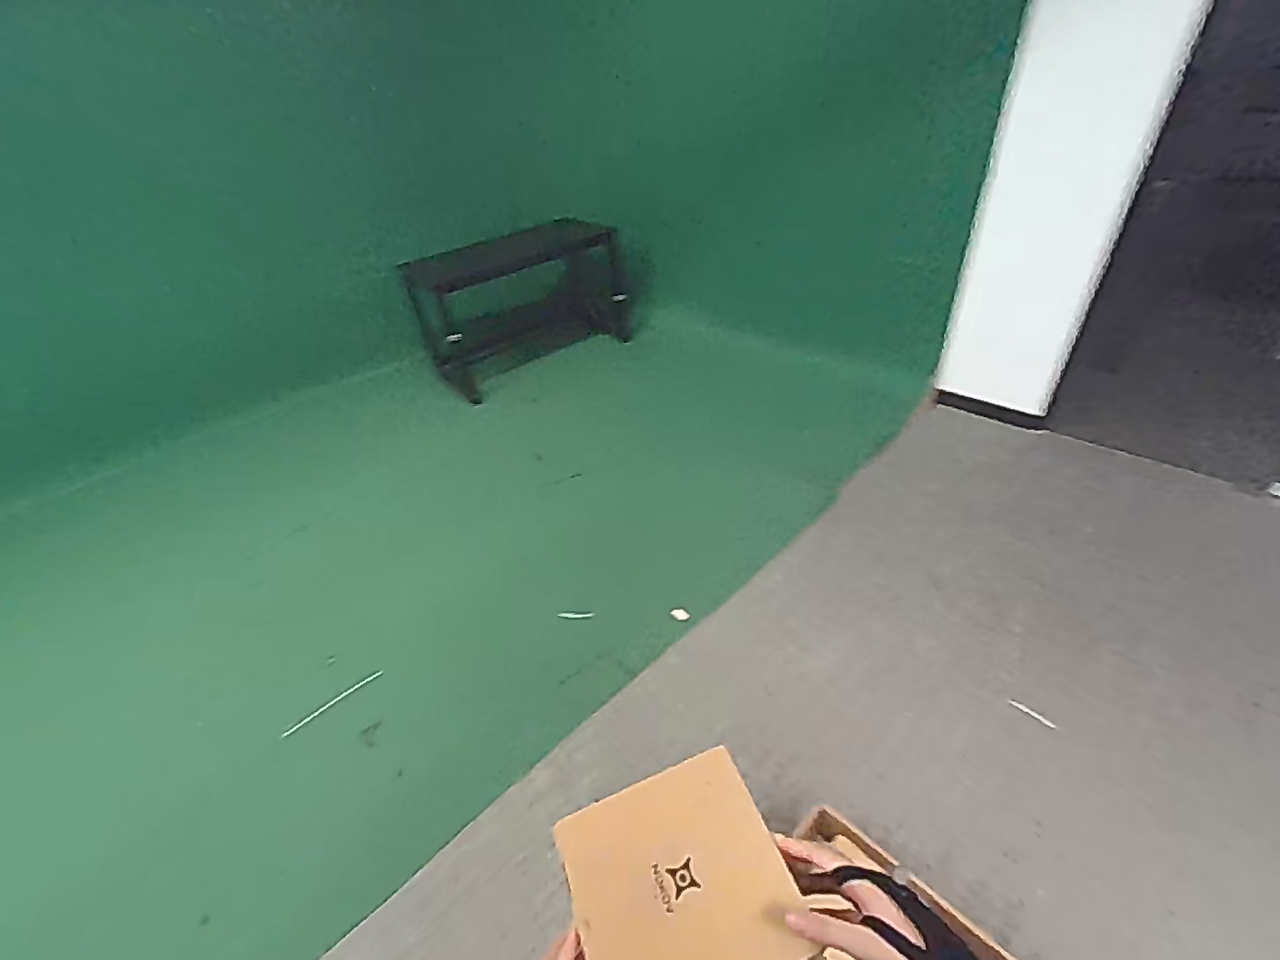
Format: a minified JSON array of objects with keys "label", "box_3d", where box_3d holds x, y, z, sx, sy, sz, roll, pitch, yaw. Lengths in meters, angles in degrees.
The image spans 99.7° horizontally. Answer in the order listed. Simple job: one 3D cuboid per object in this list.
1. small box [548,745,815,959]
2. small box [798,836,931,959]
[{"label":"small box","box_3d":[0.033,0.388,0.499,0.179,0.176,0.168,-20,42,-12]},{"label":"small box","box_3d":[0.380,0.793,0.959,0.179,0.176,0.168,-35,46,-28]}]
